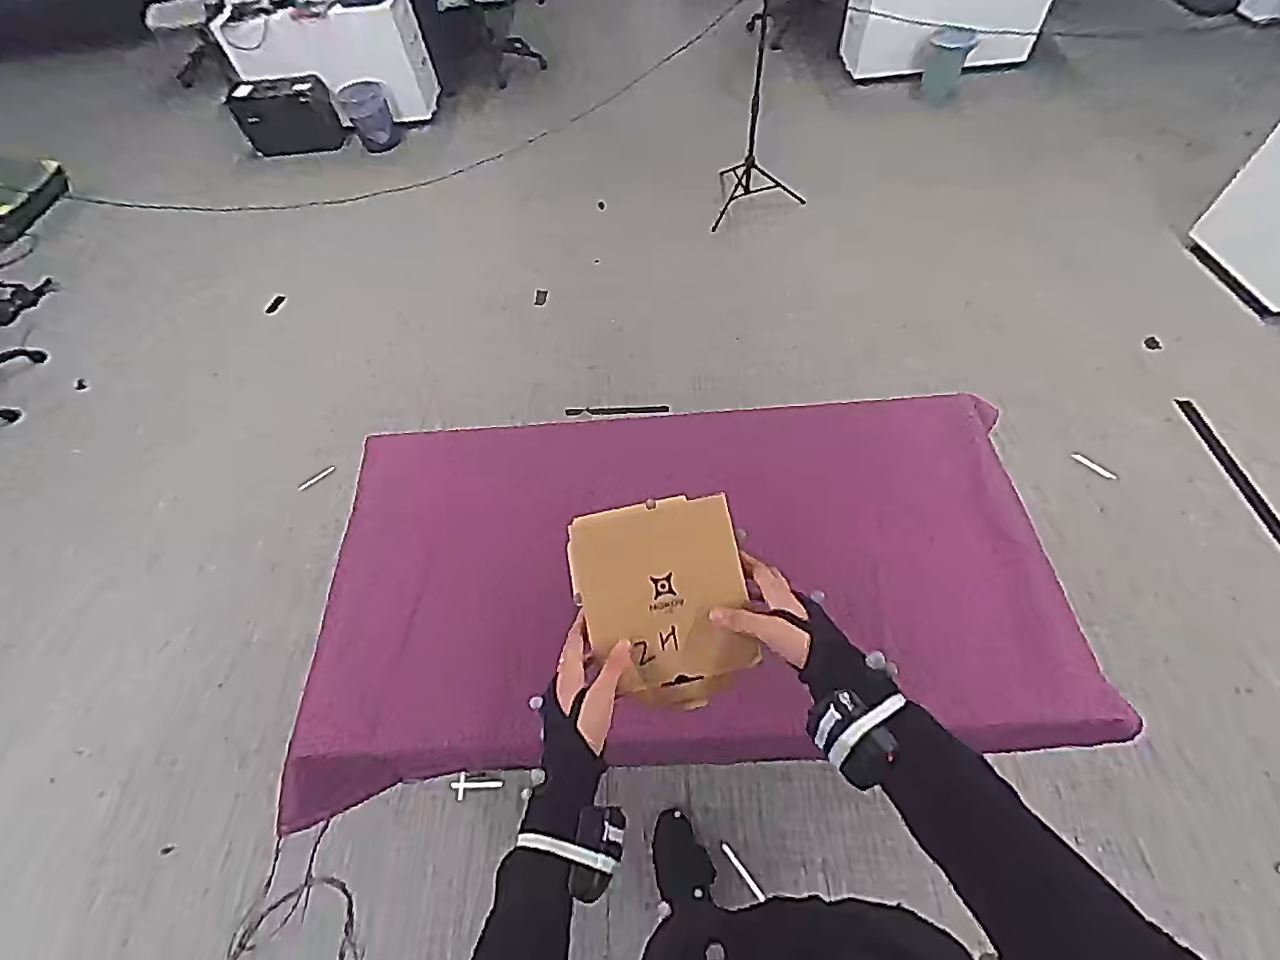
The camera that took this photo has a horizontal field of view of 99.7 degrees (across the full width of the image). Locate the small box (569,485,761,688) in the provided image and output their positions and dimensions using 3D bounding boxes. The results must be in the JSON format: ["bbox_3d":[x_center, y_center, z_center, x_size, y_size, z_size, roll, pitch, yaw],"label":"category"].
[{"bbox_3d":[0.025,0.114,0.616,0.168,0.176,0.179,-12,84,2],"label":"small box"}]
